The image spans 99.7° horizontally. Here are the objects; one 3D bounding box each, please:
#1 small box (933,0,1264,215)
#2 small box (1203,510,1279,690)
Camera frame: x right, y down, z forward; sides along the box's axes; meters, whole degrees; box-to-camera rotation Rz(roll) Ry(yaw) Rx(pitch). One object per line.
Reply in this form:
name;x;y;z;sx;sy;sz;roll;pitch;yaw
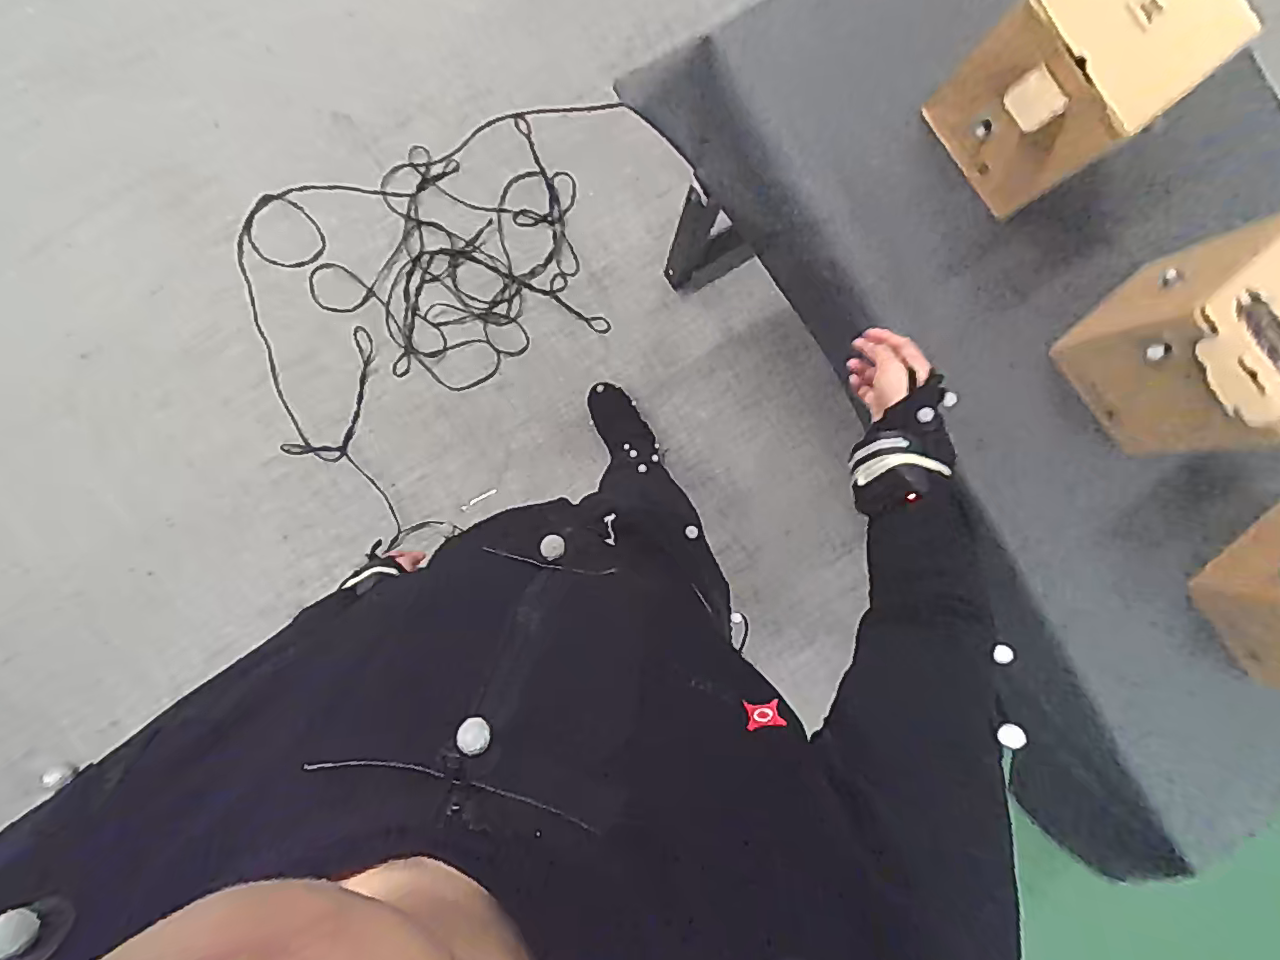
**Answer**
small box;0.464;-0.429;0.576;0.179;0.176;0.168;-38;94;-3
small box;0.807;0.149;0.609;0.179;0.176;0.168;-38;94;-5
